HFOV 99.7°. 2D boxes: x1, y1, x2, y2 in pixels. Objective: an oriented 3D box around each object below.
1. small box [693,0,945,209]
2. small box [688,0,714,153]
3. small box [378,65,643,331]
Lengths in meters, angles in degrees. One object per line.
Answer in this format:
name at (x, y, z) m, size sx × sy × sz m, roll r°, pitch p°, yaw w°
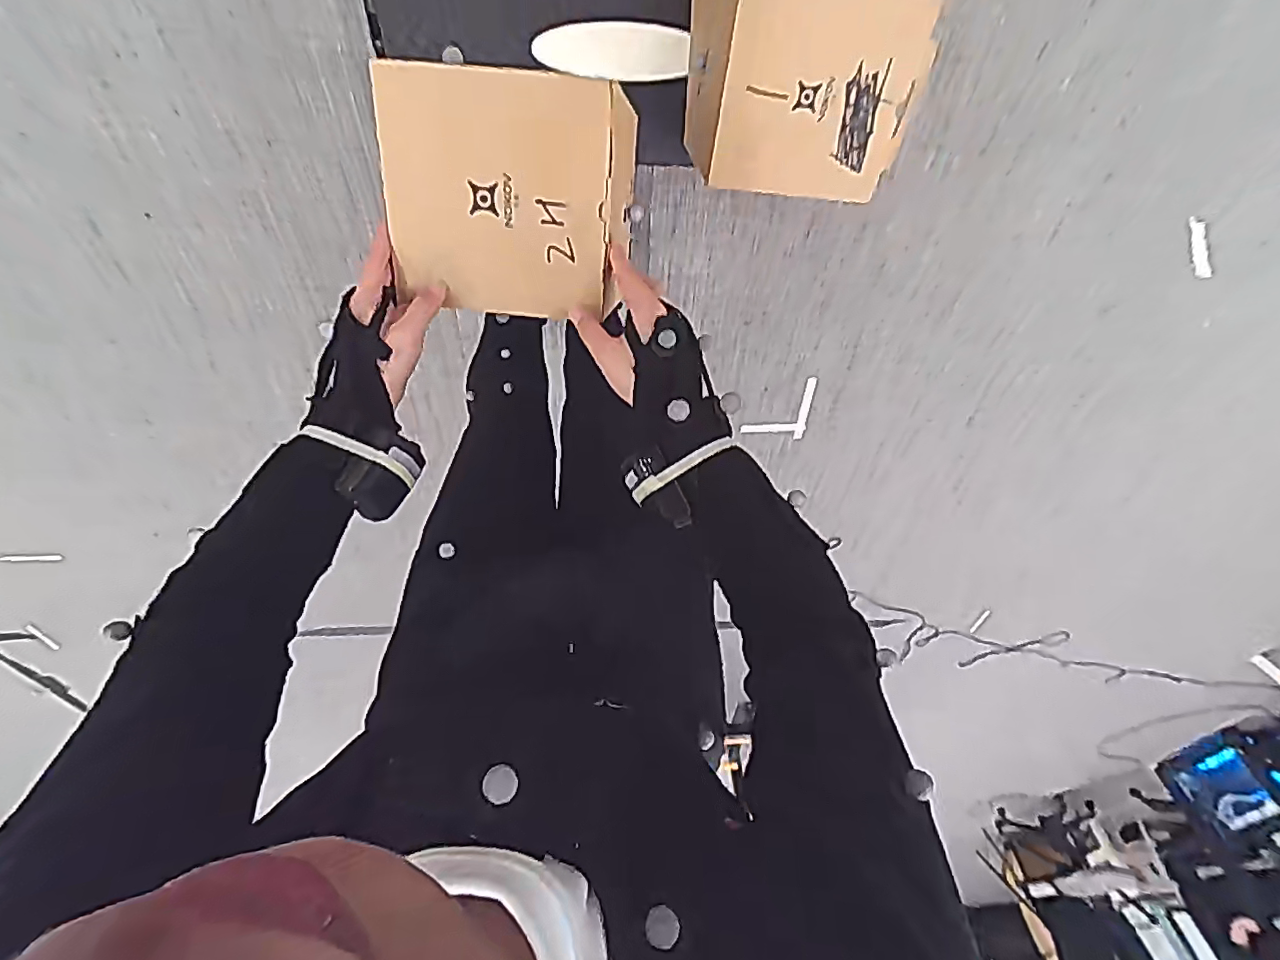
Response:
small box at (0.161, -0.400, 0.558) m, size 0.179 × 0.176 × 0.168 m, roll 3°, pitch 133°, yaw -6°
small box at (0.155, -0.501, 0.689) m, size 0.168 × 0.176 × 0.179 m, roll -2°, pitch 133°, yaw -3°
small box at (-0.097, -0.238, 0.476) m, size 0.179 × 0.176 × 0.168 m, roll 7°, pitch 117°, yaw 2°
